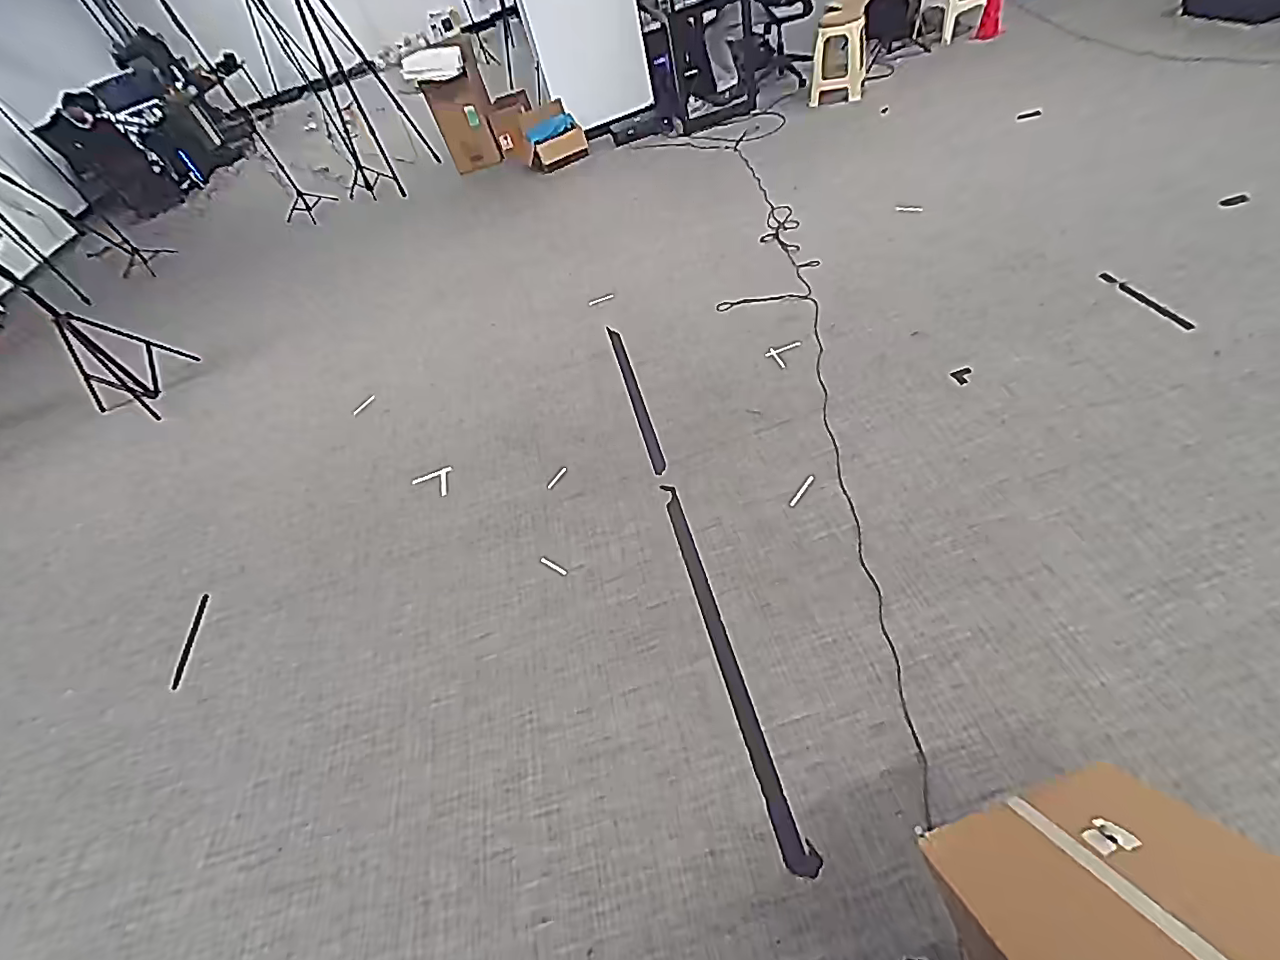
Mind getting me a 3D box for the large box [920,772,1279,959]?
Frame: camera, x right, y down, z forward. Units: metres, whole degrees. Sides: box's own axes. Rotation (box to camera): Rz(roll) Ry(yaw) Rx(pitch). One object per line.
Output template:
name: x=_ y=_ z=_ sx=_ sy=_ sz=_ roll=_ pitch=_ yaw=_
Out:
large box: x=0.617 y=0.621 z=0.611 sx=0.320 sy=0.408 sz=0.320 roll=-22 pitch=85 yaw=0
